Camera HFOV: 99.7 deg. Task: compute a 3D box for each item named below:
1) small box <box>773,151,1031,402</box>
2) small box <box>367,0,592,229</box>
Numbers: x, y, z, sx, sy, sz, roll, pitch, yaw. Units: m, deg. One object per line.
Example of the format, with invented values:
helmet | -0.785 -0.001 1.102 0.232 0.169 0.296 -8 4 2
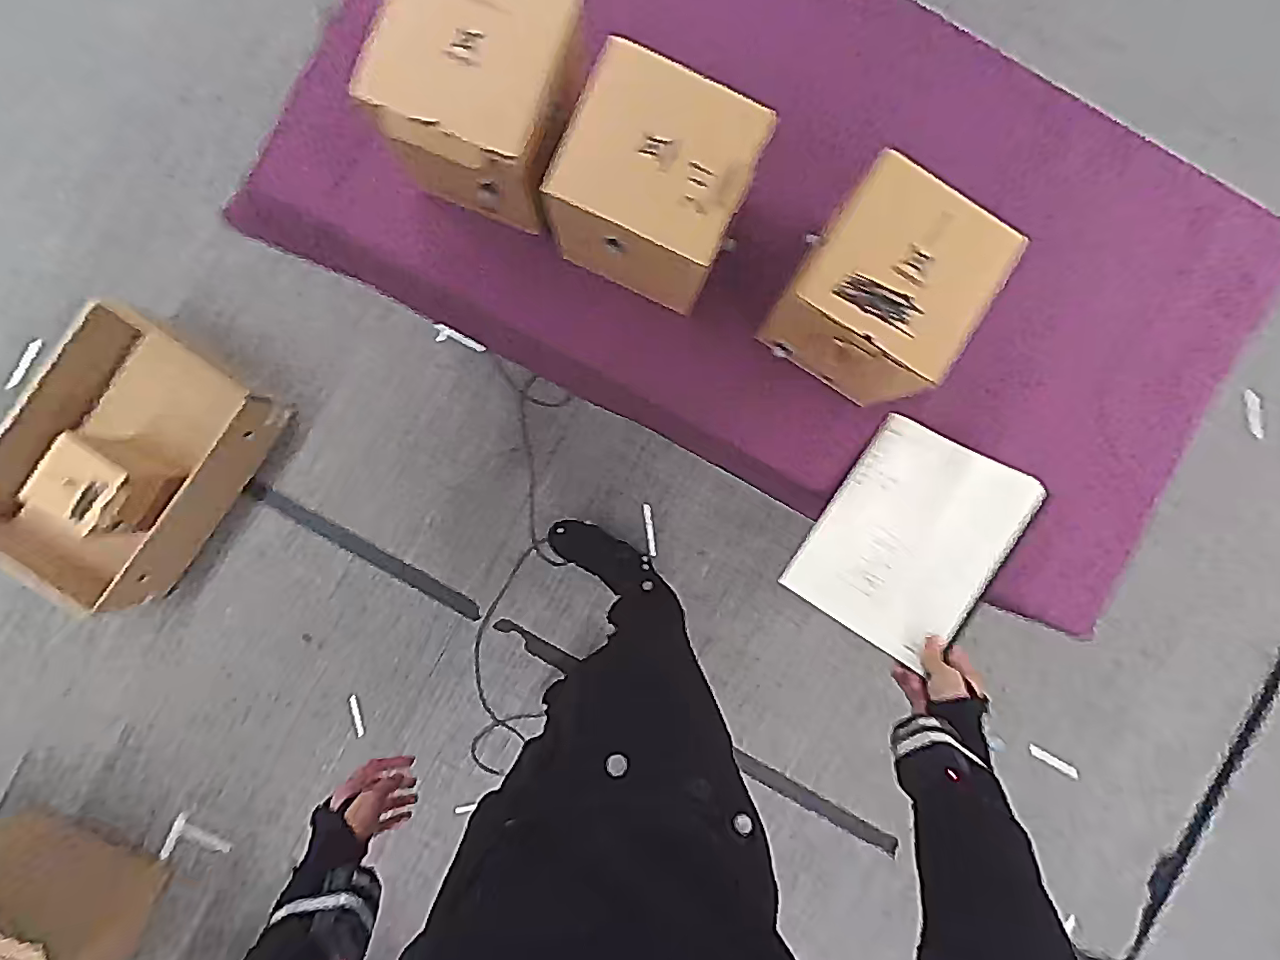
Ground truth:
small box | 0.269 -0.206 0.607 0.168 0.176 0.179 33 89 -2
small box | -0.157 -0.412 0.595 0.168 0.176 0.179 22 90 -3
